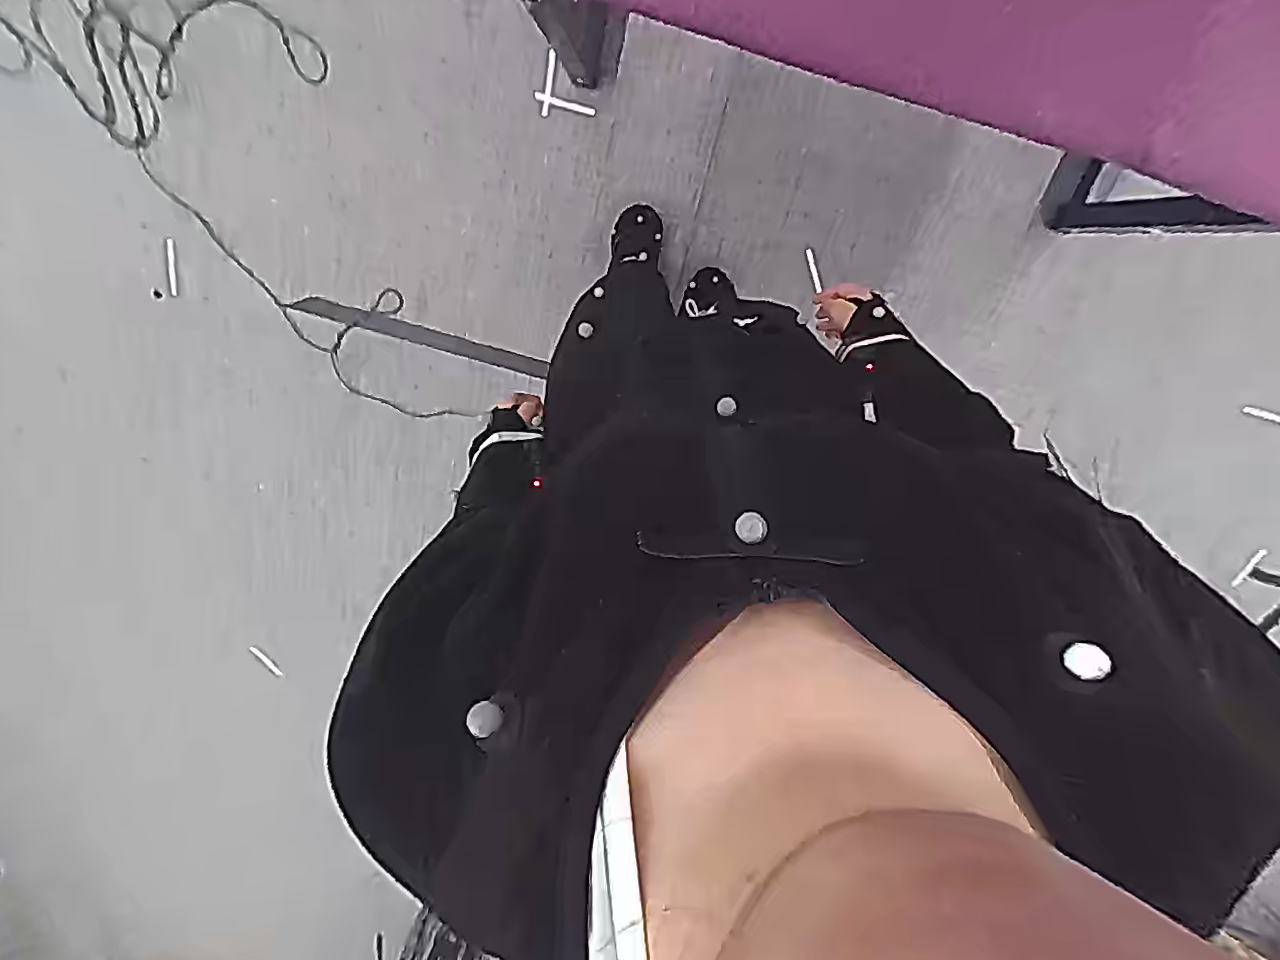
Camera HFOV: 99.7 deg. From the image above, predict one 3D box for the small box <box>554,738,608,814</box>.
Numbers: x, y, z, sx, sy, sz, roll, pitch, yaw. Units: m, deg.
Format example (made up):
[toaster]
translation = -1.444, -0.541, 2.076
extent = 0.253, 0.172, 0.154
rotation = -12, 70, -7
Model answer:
[small box]
translation = -0.214, 1.085, 1.990
extent = 0.168, 0.176, 0.179
rotation = 11, 115, -2
